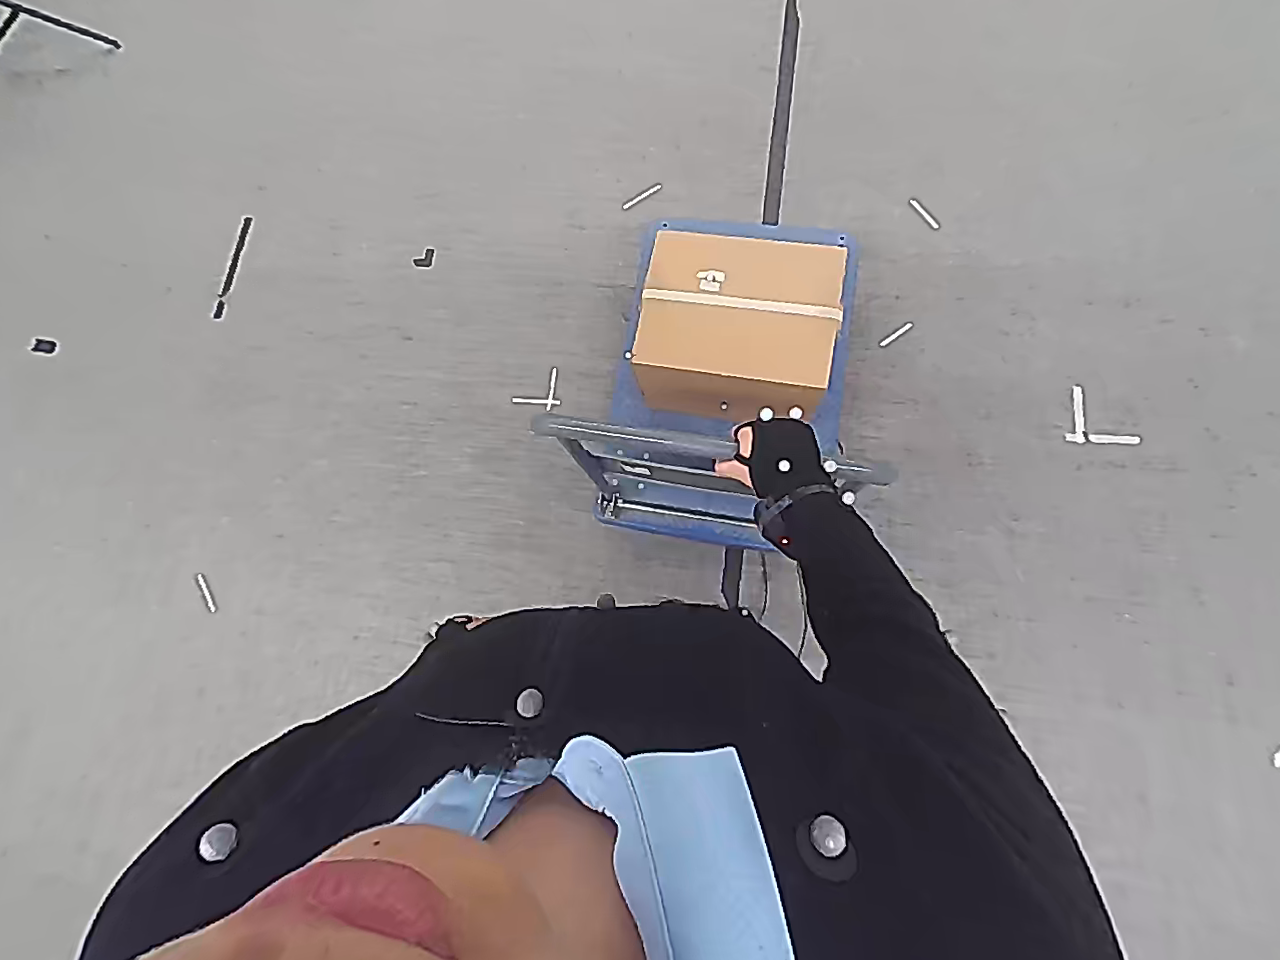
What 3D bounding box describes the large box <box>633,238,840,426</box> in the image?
[{"bbox_3d":[0.227,-0.335,1.283,0.408,0.320,0.320,9,79,11],"label":"large box"}]
